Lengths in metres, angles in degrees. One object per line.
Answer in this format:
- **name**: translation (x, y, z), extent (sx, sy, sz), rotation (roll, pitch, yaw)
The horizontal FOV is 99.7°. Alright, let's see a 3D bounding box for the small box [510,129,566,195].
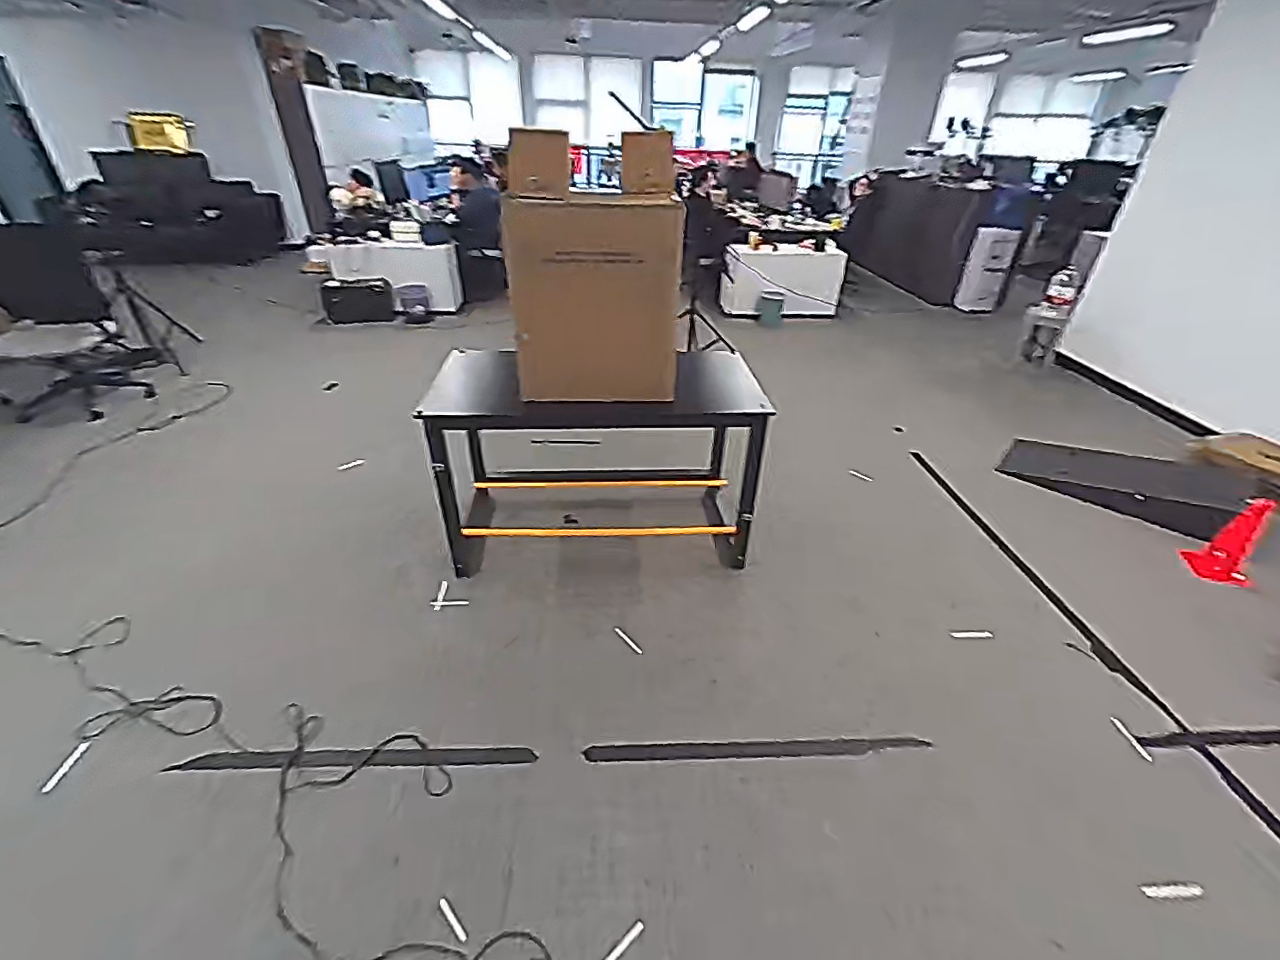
- **small box**: translation (-0.326, -1.022, 1.739), extent (0.168, 0.176, 0.179), rotation (-3, 32, -9)

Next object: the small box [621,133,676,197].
- **small box**: translation (0.023, -1.015, 1.744), extent (0.168, 0.176, 0.179), rotation (-2, 31, -3)
